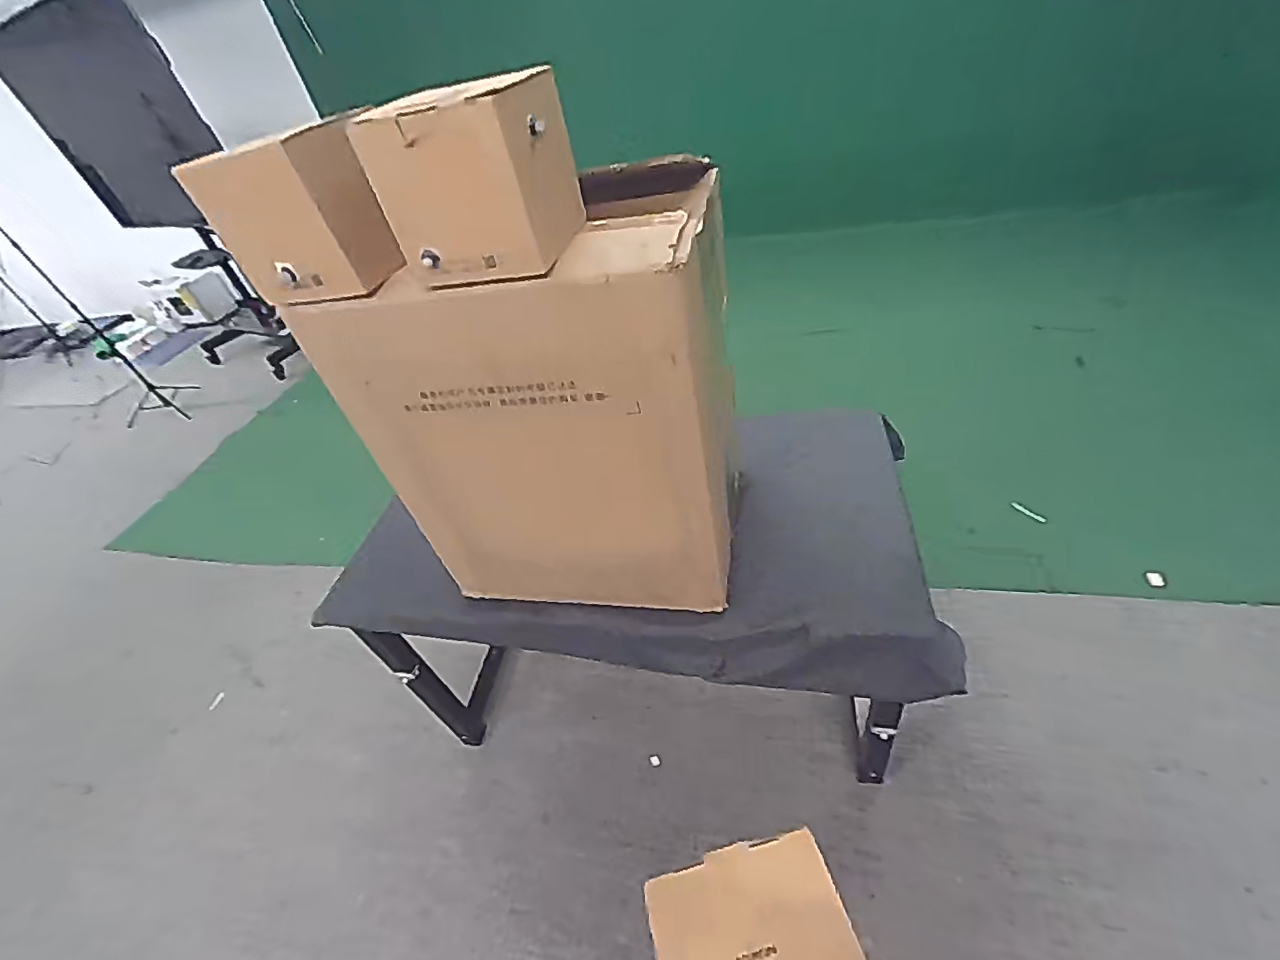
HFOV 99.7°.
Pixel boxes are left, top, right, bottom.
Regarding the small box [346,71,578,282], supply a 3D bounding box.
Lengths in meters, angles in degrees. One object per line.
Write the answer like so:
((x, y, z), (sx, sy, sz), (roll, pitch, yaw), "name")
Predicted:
((-0.183, -0.339, 0.621), (0.168, 0.176, 0.179), (0, 42, 15), "small box")

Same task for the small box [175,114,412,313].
((-0.405, -0.333, 0.686), (0.168, 0.176, 0.179), (-2, 44, 18), "small box")
